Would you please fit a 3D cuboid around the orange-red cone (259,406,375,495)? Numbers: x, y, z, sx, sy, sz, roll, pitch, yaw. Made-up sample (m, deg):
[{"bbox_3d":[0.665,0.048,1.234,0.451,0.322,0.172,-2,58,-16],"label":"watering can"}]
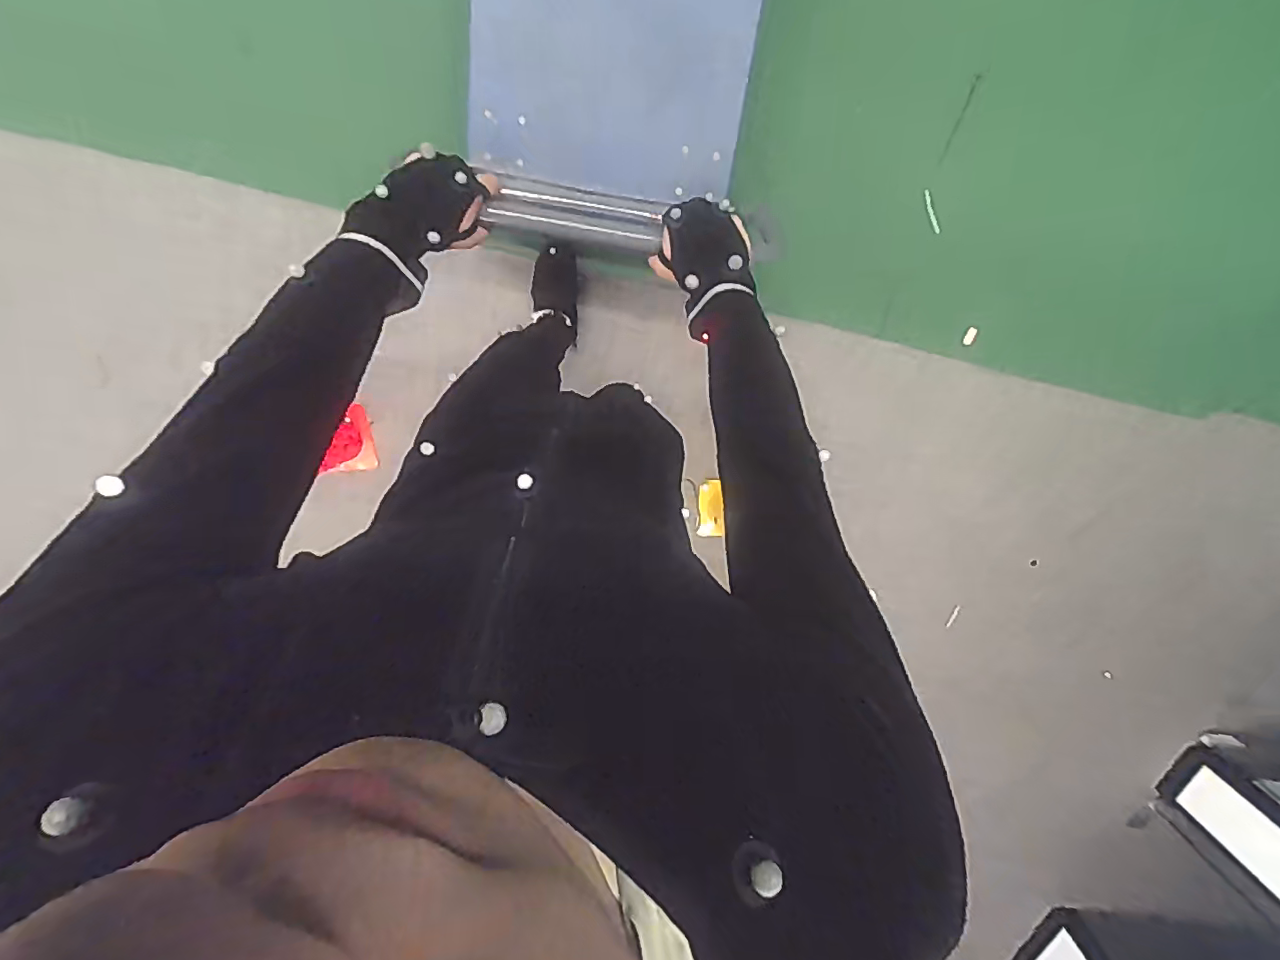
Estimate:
[{"bbox_3d":[-0.860,-0.049,1.387,0.199,0.360,0.198,-2,113,-2],"label":"orange-red cone"}]
